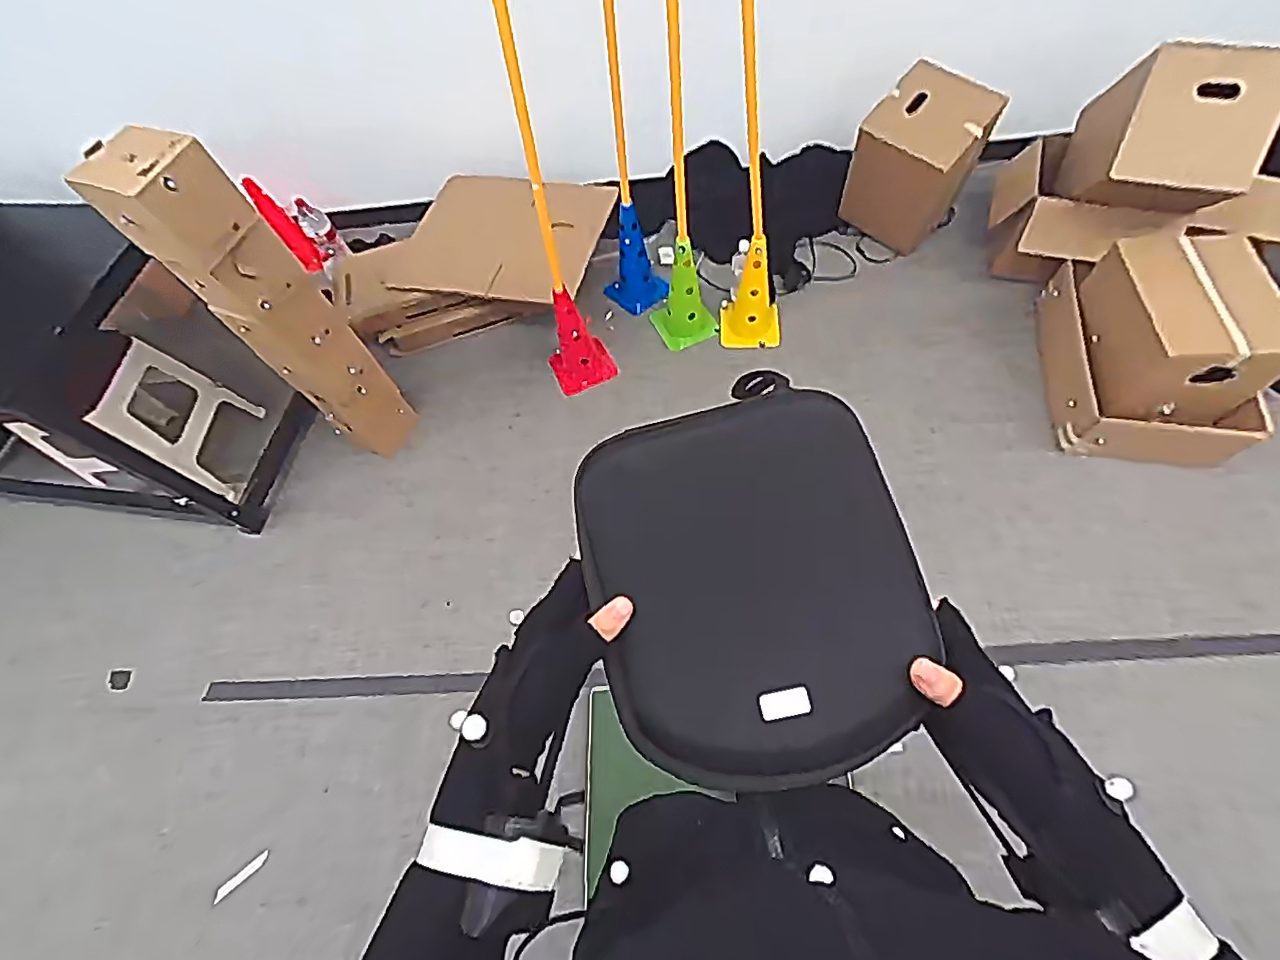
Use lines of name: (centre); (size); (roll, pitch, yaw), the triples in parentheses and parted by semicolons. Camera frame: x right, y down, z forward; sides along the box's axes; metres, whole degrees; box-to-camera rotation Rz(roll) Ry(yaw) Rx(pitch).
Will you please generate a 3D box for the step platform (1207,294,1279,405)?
step platform: (2.095, -0.495, 1.598); (0.684, 0.204, 0.286); (-30, 63, -9)
